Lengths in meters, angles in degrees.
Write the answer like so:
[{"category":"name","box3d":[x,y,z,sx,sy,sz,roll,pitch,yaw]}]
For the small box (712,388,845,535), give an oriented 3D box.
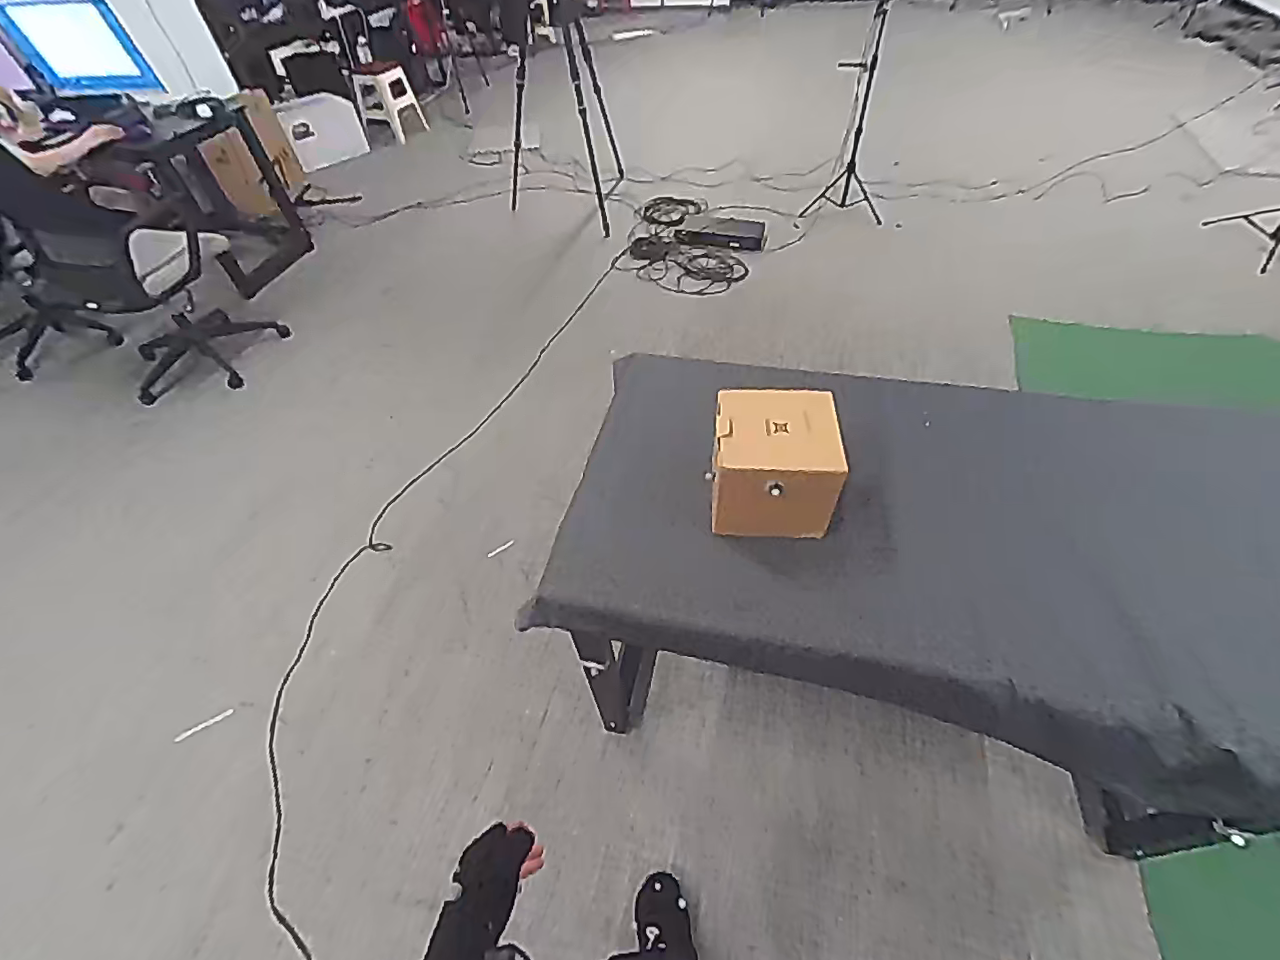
[{"category":"small box","box3d":[0.206,-0.026,0.855,0.179,0.176,0.168,2,51,4]}]
